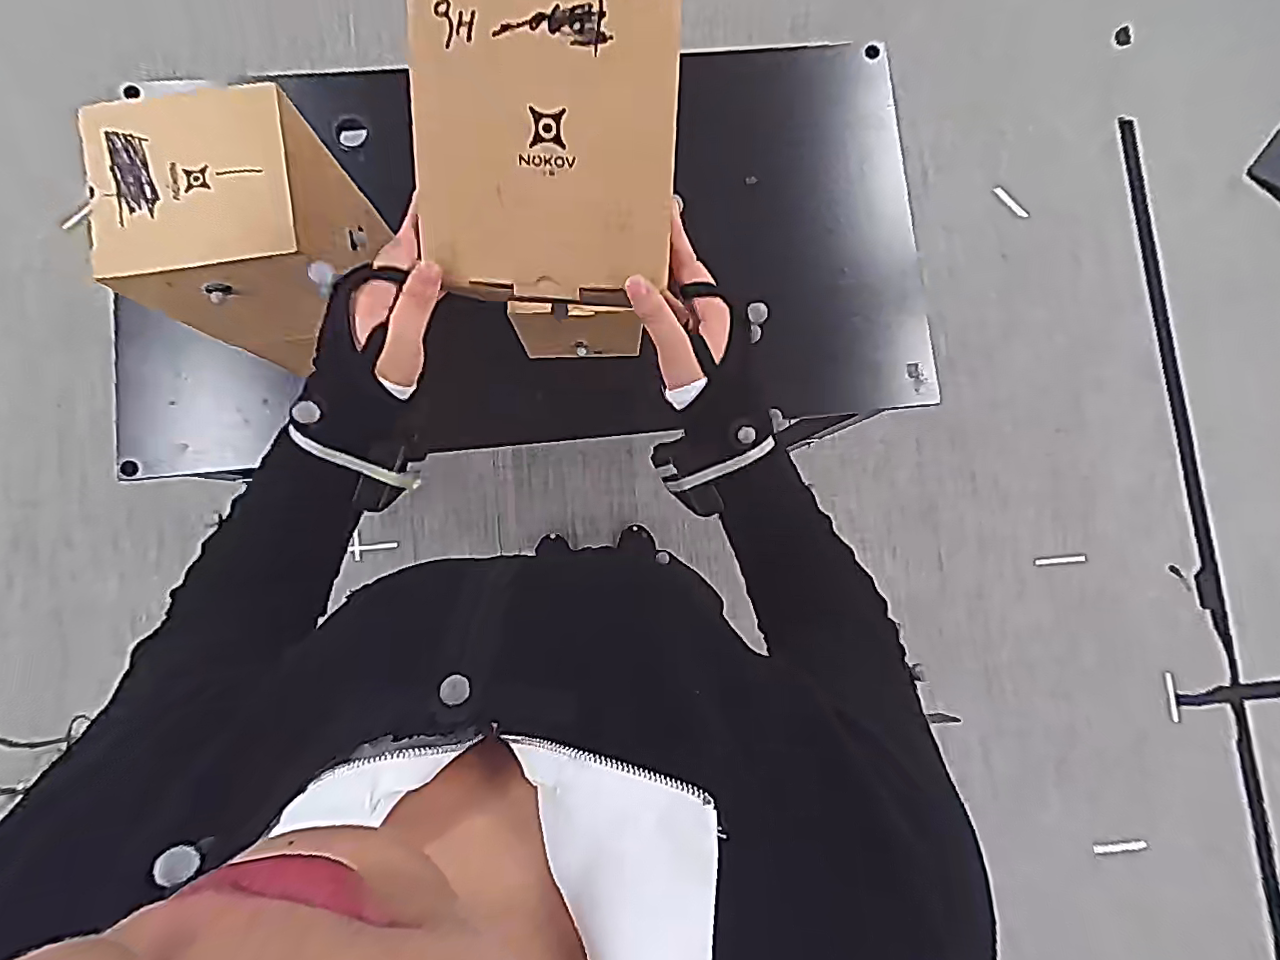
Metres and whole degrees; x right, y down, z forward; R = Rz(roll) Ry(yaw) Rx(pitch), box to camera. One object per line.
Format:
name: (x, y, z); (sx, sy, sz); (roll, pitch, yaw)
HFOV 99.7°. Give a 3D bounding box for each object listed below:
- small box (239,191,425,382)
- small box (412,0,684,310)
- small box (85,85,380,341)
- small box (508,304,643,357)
small box: (-0.406, -0.246, 0.722); (0.168, 0.176, 0.179); (-10, 86, -3)
small box: (-0.060, -0.227, 0.423); (0.168, 0.176, 0.179); (2, 106, -3)
small box: (-0.400, -0.257, 0.558); (0.179, 0.176, 0.168); (-10, 85, -4)
small box: (-0.084, -0.279, 0.739); (0.168, 0.176, 0.179); (-2, 85, -3)
